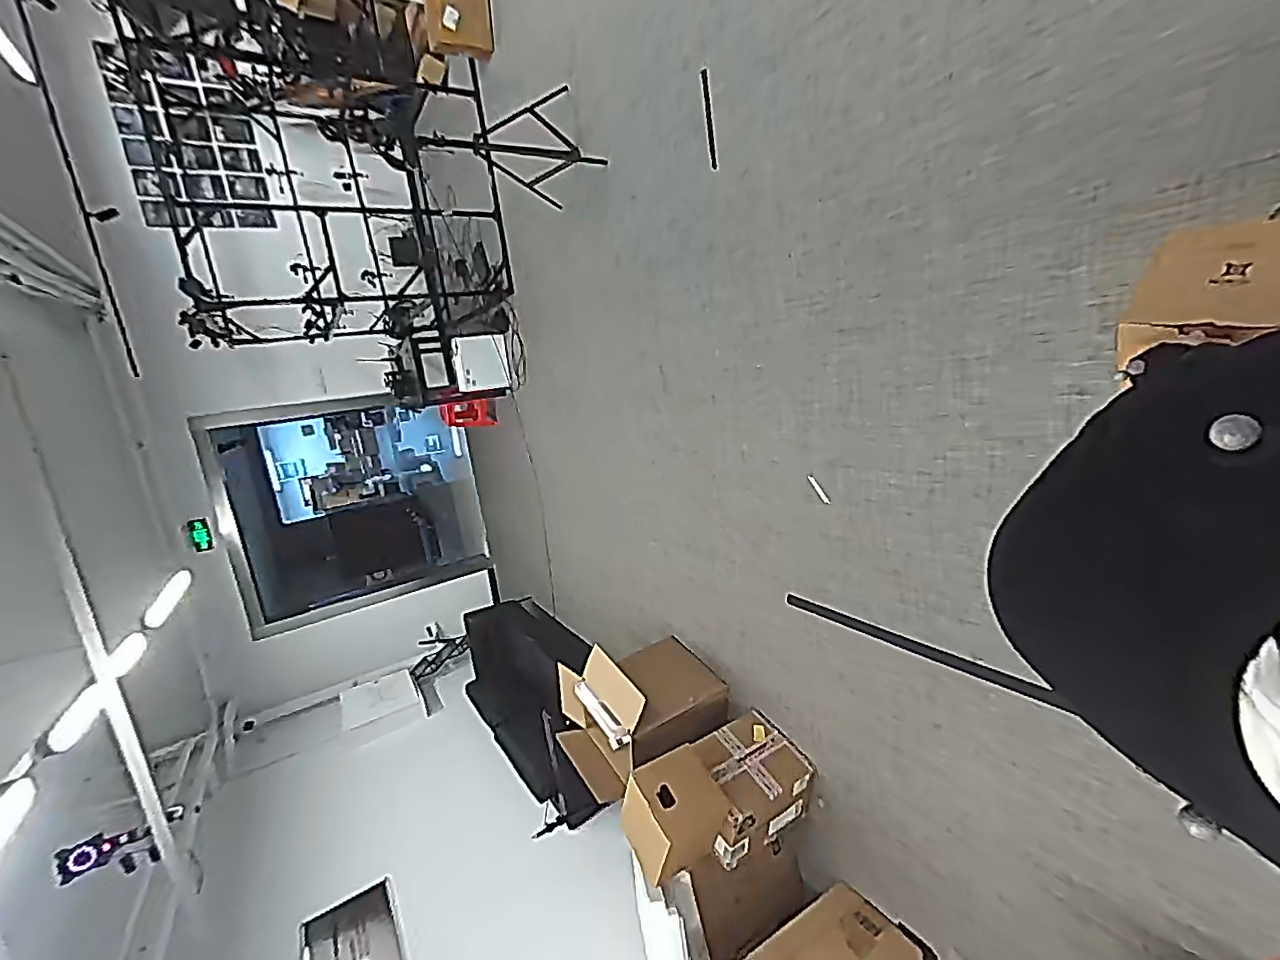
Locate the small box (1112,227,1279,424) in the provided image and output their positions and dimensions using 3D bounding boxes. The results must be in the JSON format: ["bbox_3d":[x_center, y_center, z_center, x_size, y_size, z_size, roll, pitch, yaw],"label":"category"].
[{"bbox_3d":[0.750,-0.196,0.699,0.168,0.179,0.176,23,160,49],"label":"small box"}]
